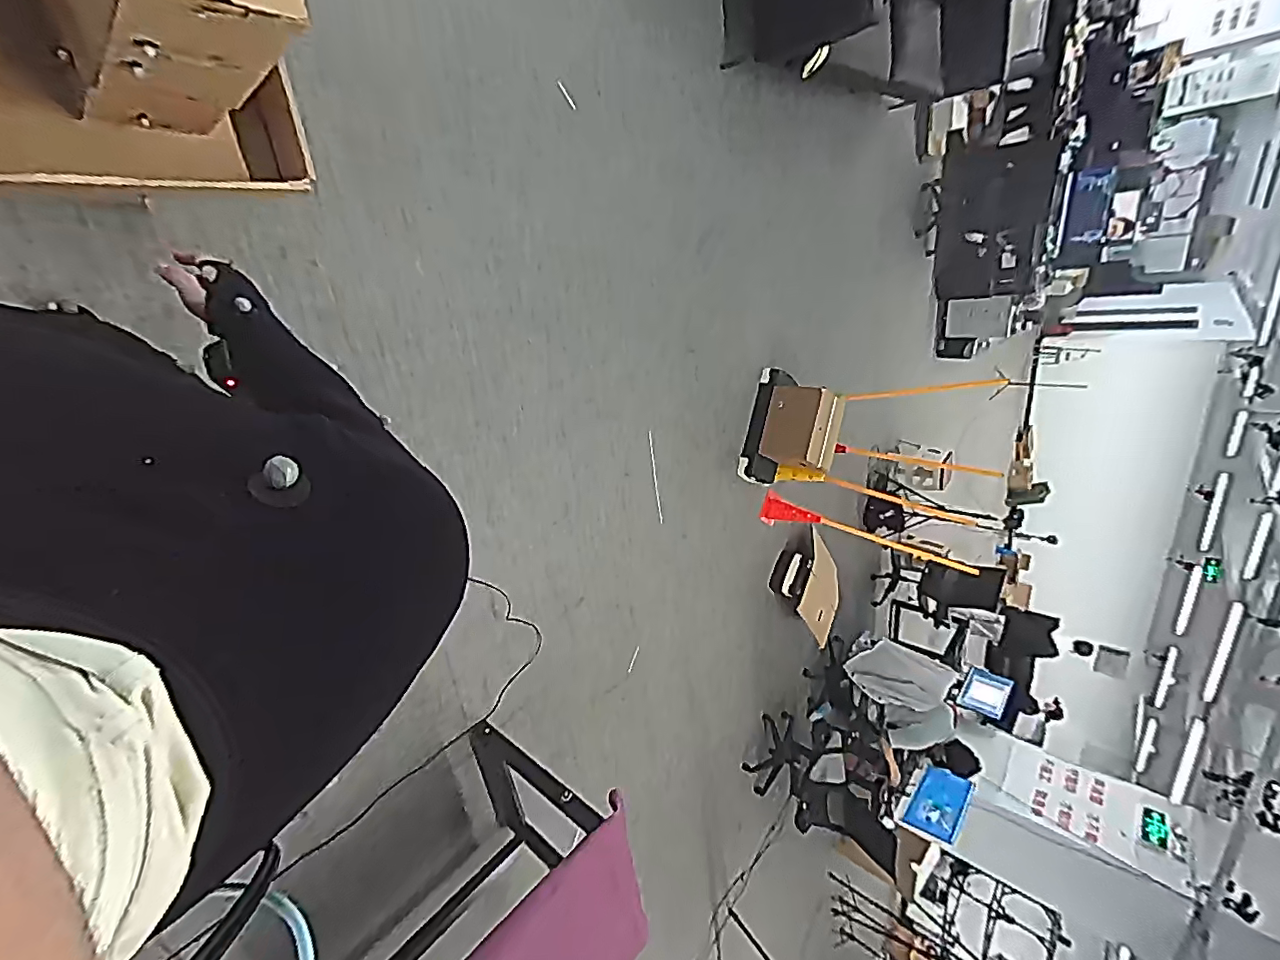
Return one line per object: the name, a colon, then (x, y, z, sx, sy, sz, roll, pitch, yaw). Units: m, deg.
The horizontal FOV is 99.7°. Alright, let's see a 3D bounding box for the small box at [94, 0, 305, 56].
small box: (-0.496, -0.594, 0.577, 0.168, 0.176, 0.179, -26, 118, -43)
